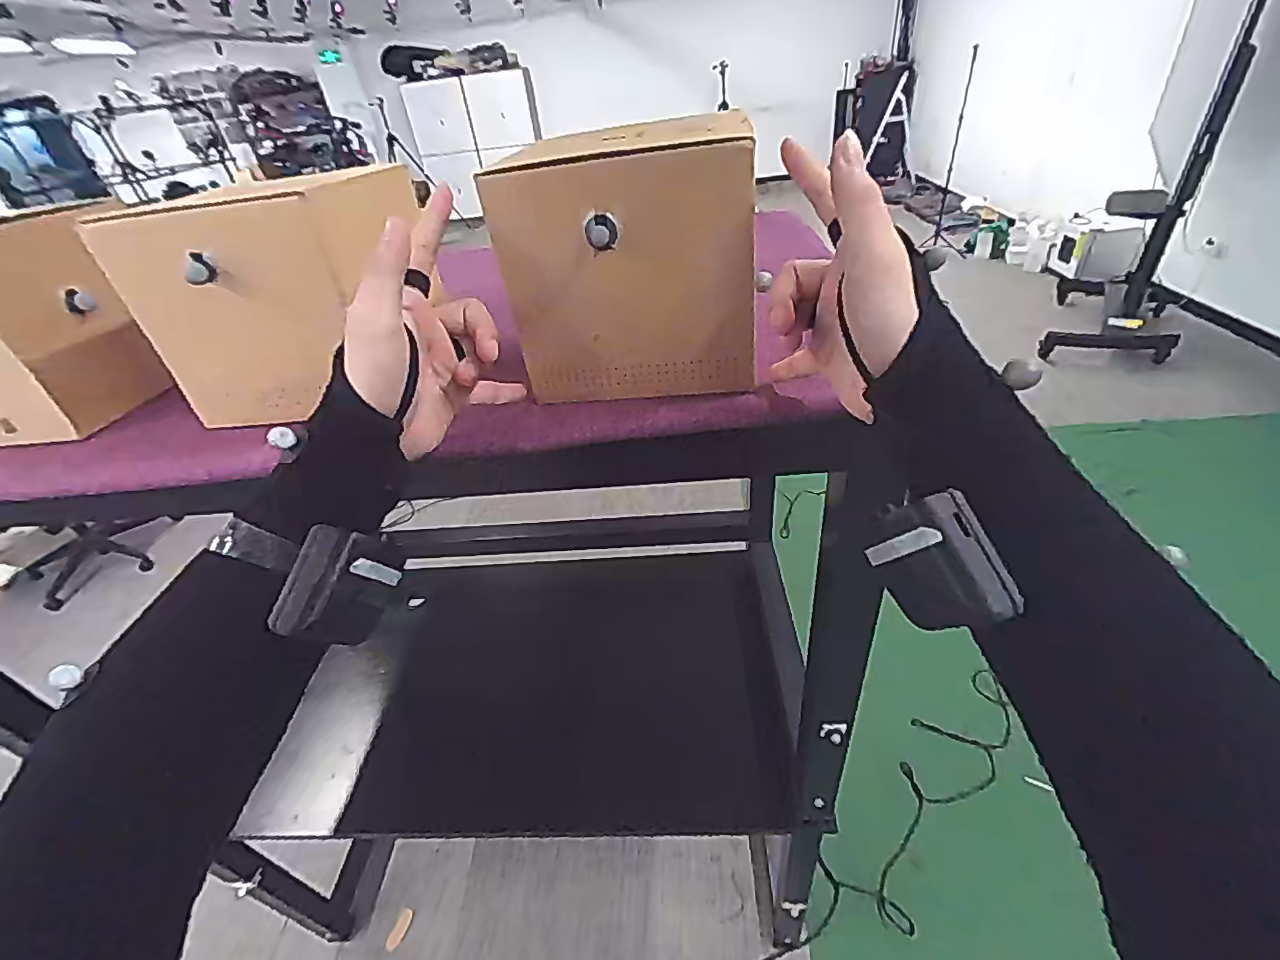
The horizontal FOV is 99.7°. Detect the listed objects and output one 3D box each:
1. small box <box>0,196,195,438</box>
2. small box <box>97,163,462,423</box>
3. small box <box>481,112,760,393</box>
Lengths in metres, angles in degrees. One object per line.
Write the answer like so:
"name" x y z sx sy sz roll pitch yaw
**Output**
"small box" -0.562 -0.149 0.505 0.168 0.176 0.179 -3 36 5
"small box" -0.282 -0.165 0.478 0.179 0.176 0.168 -4 35 7
"small box" 0.003 -0.181 0.441 0.179 0.176 0.168 -3 38 10
